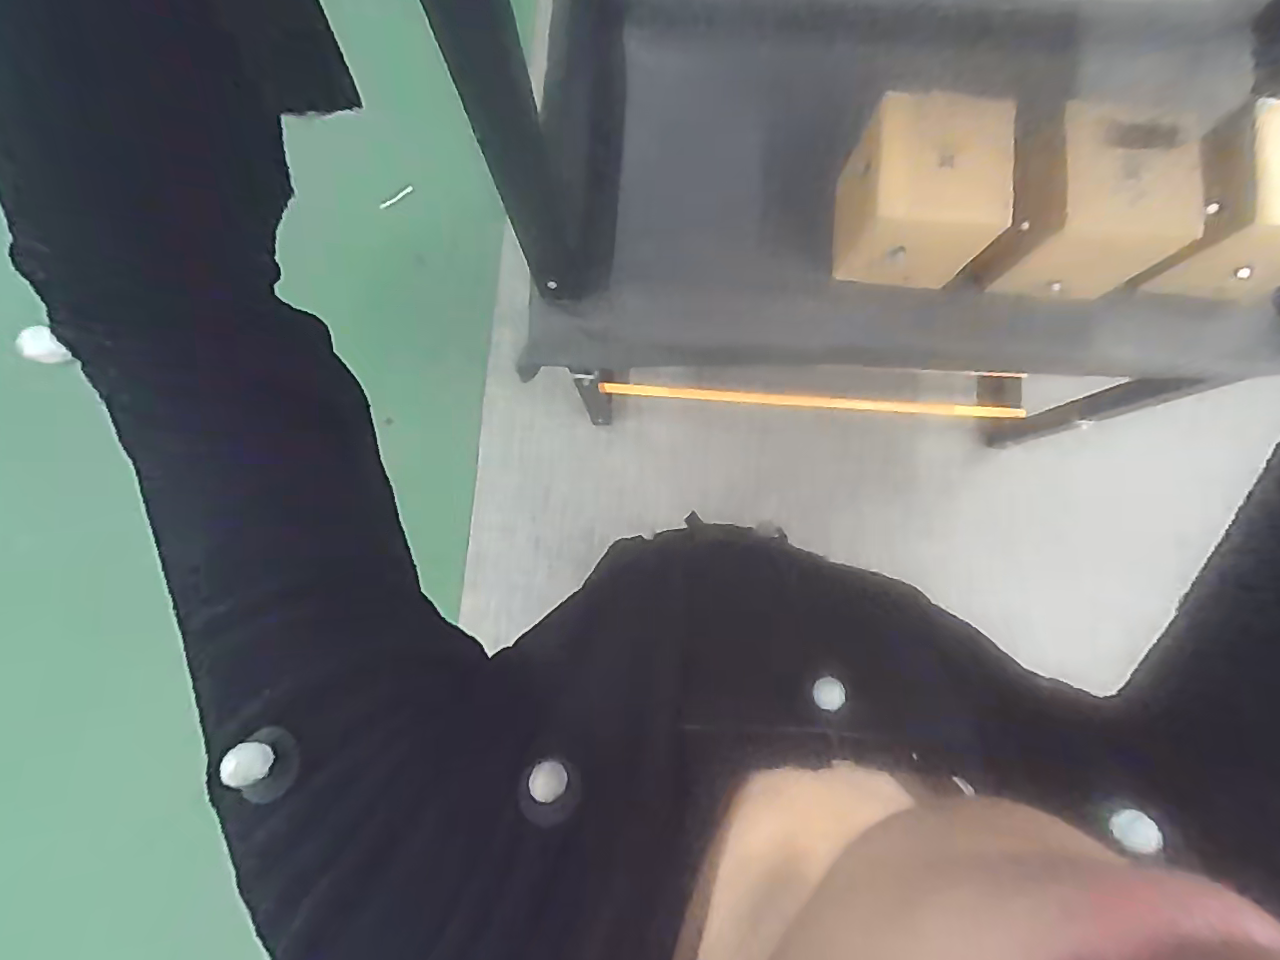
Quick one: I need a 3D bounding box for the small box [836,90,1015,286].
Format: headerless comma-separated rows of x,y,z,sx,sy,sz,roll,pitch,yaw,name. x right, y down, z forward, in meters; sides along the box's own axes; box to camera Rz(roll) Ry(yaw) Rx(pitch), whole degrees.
0.384,-0.393,0.754,0.168,0.176,0.179,6,82,2,small box

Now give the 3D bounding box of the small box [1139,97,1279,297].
0.837,-0.373,0.740,0.168,0.176,0.179,7,81,2,small box
